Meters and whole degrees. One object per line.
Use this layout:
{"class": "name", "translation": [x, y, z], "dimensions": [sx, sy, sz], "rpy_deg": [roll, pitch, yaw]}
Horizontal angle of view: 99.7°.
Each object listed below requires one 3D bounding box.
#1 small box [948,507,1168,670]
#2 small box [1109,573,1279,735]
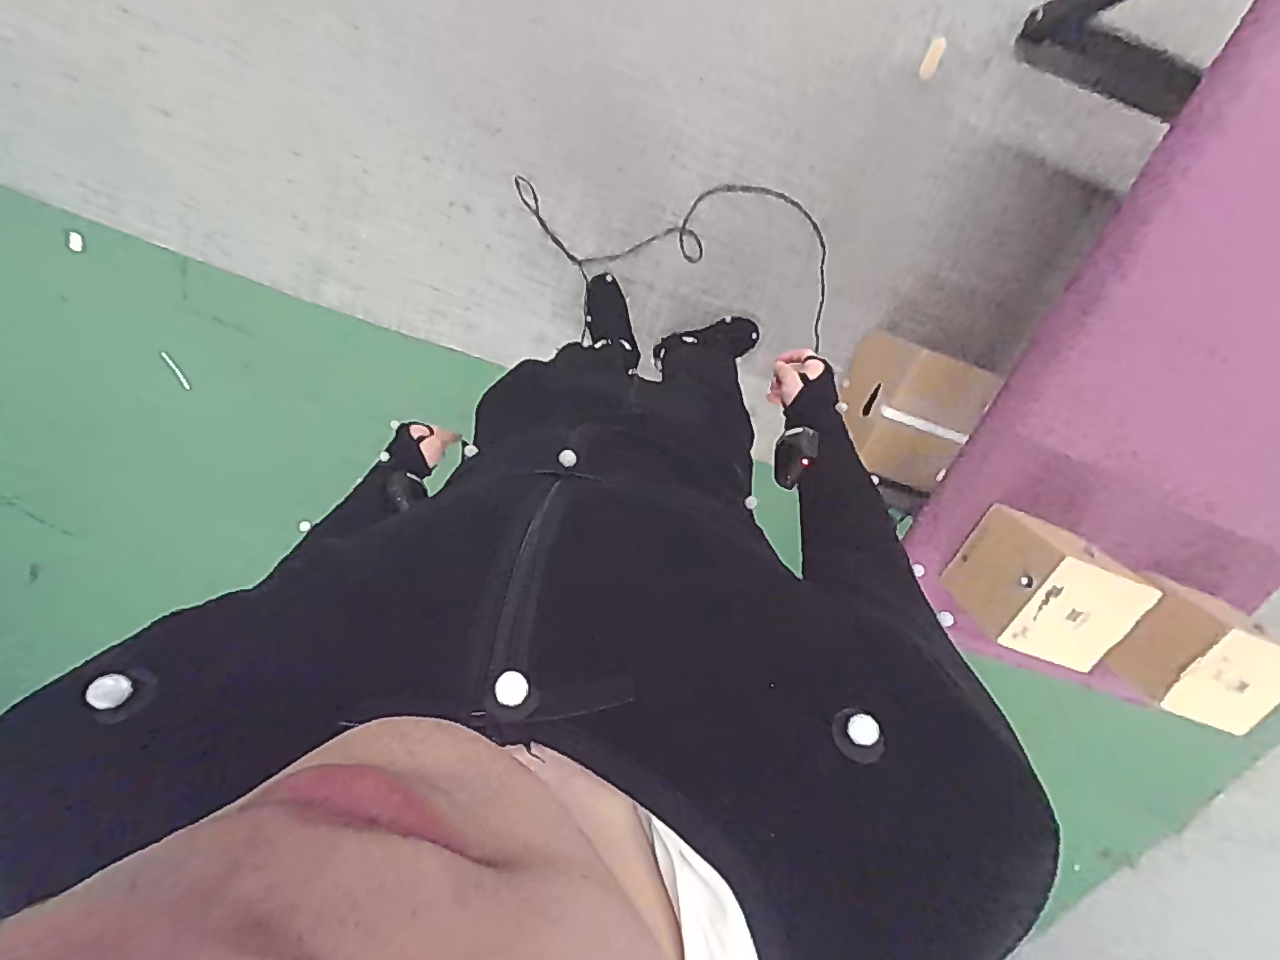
{"class": "small box", "translation": [0.646, 0.164, 0.861], "dimensions": [0.179, 0.176, 0.168], "rpy_deg": [20, 112, -10]}
{"class": "small box", "translation": [0.935, 0.282, 0.905], "dimensions": [0.179, 0.176, 0.168], "rpy_deg": [21, 111, -6]}
